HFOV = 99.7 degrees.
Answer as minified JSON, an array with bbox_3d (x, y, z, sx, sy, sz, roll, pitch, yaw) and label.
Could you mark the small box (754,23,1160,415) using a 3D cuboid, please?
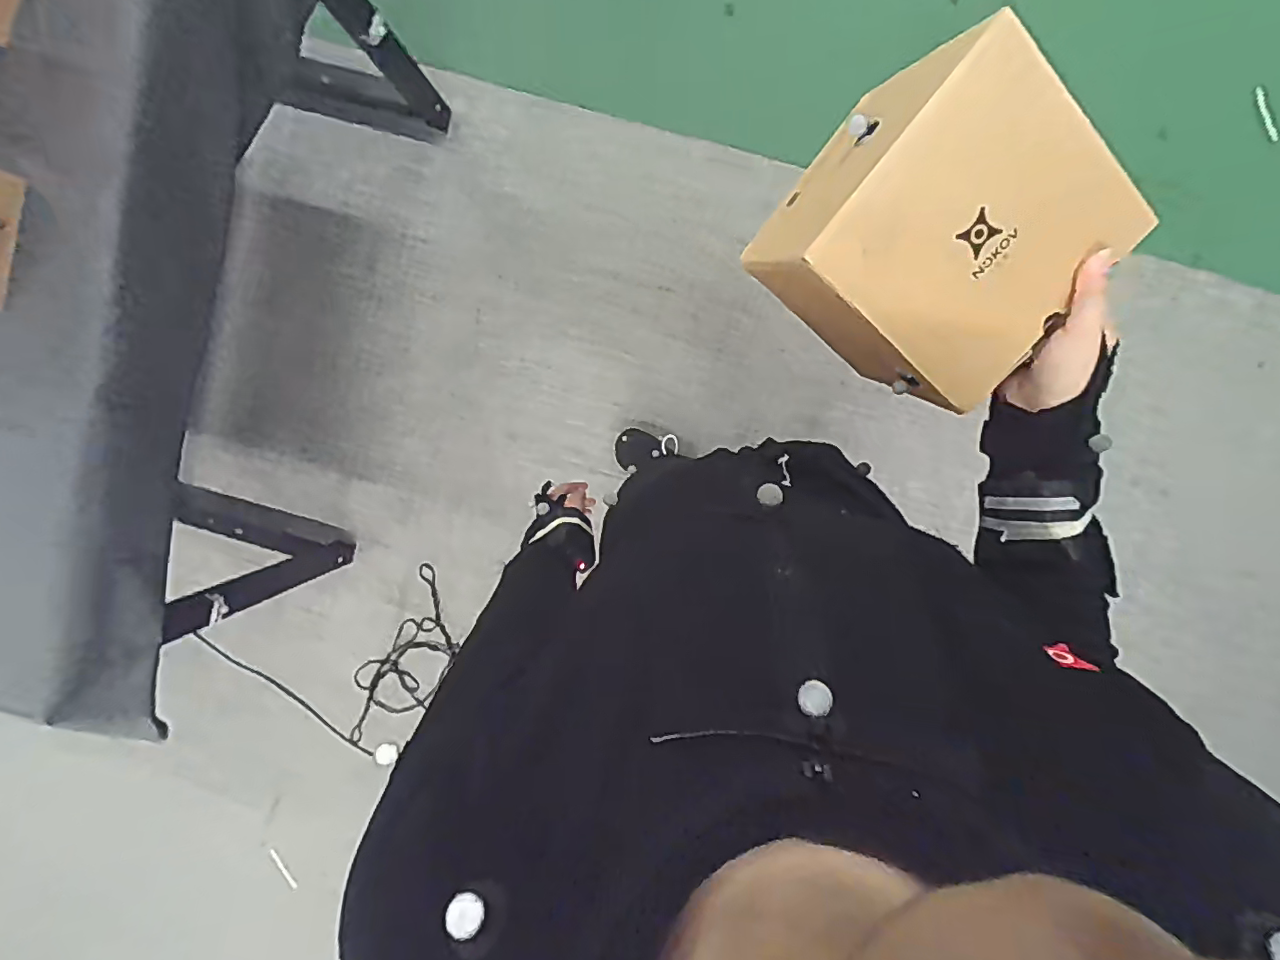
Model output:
[{"bbox_3d":[0.217,-0.180,0.421,0.179,0.176,0.168,35,104,-18],"label":"small box"}]
